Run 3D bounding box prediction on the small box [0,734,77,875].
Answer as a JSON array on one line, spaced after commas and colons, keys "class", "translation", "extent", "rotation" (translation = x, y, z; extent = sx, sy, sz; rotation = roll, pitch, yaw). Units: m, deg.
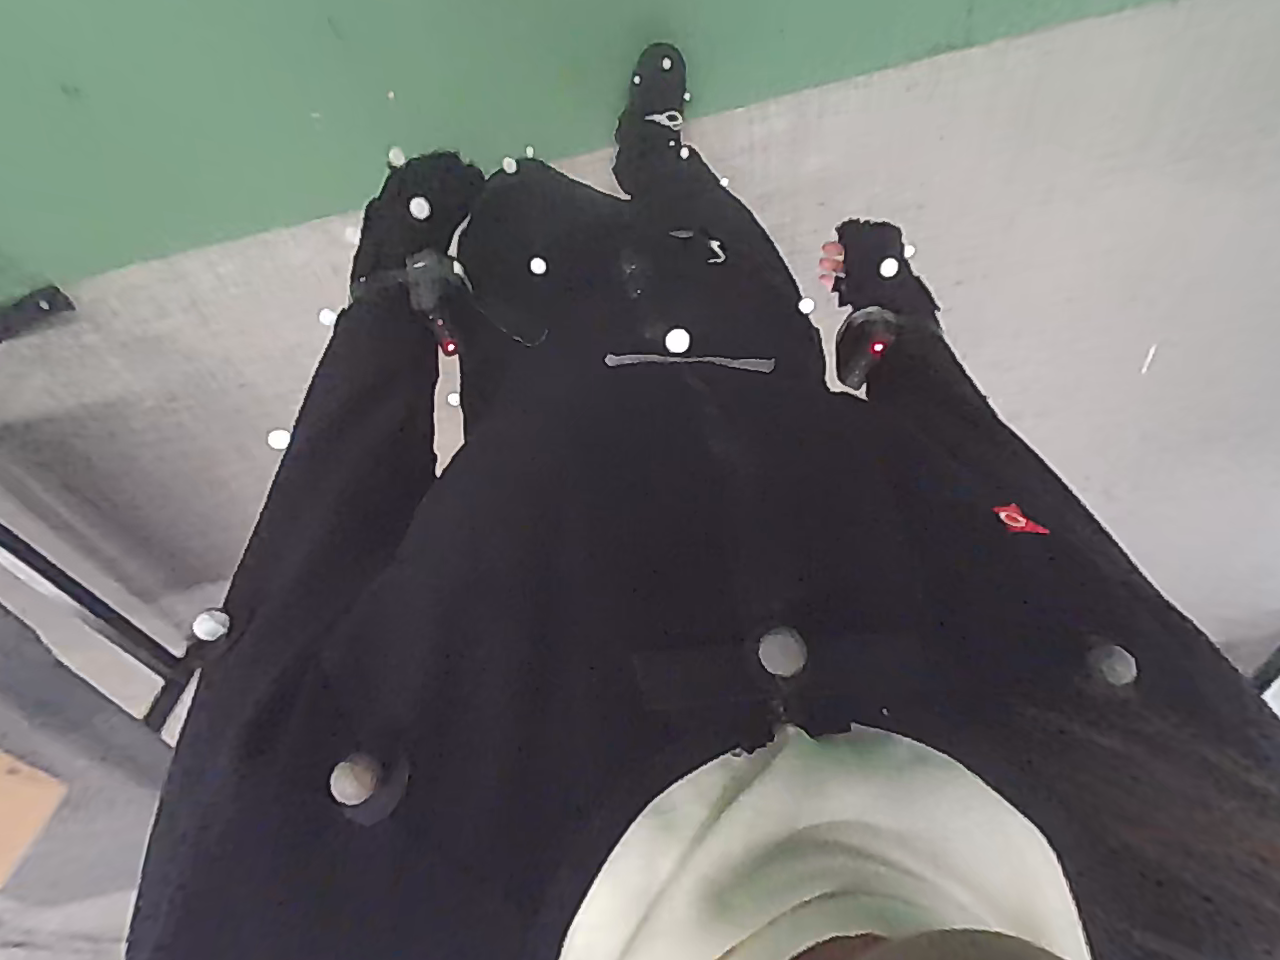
[{"class": "small box", "translation": [-1.165, 0.567, 0.934], "extent": [0.179, 0.176, 0.168], "rotation": [-13, 129, 4]}]
